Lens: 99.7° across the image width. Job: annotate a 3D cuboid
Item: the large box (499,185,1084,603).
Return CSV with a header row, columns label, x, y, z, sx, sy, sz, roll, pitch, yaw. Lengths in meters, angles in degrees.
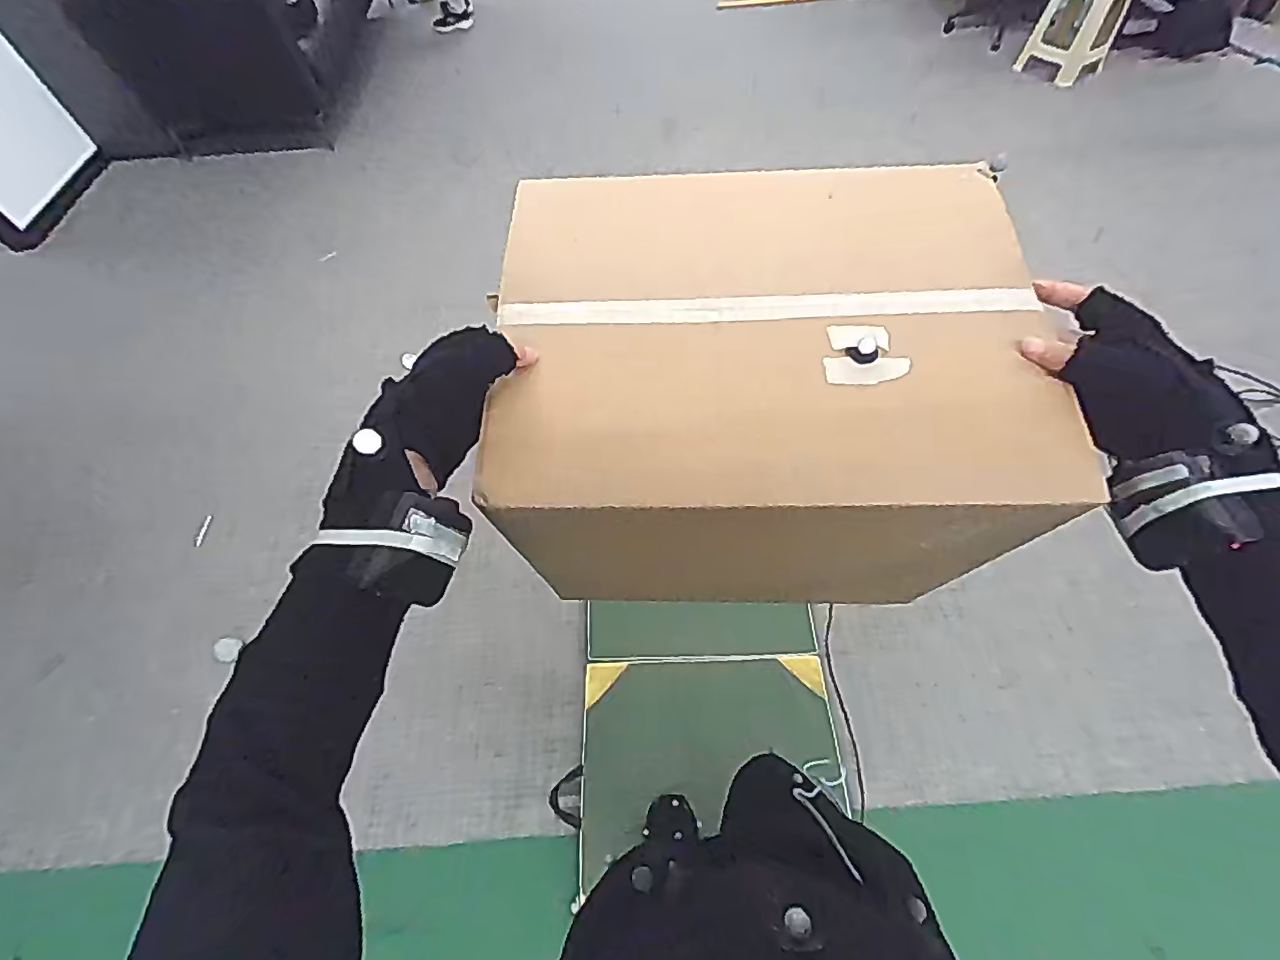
label,x,y,z,sx,sy,sz,roll,pitch,yaw
large box,0.102,-0.060,0.560,0.408,0.320,0.320,0,66,2
